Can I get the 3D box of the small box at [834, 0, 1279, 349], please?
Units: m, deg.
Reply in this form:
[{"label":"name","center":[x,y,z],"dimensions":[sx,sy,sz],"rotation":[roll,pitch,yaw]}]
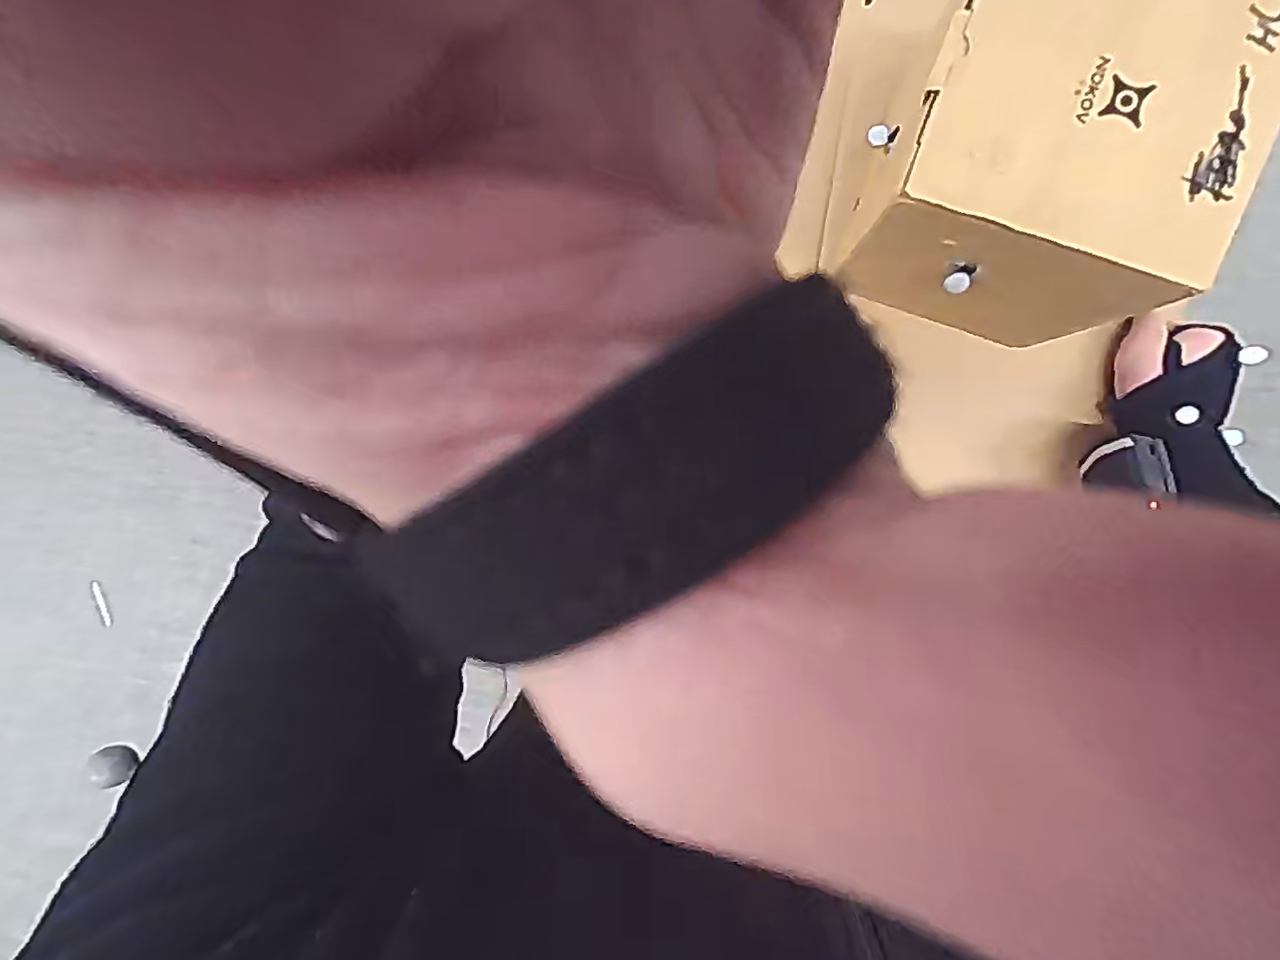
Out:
[{"label":"small box","center":[0.261,-0.206,0.384],"dimensions":[0.179,0.176,0.168],"rotation":[20,95,5]}]
